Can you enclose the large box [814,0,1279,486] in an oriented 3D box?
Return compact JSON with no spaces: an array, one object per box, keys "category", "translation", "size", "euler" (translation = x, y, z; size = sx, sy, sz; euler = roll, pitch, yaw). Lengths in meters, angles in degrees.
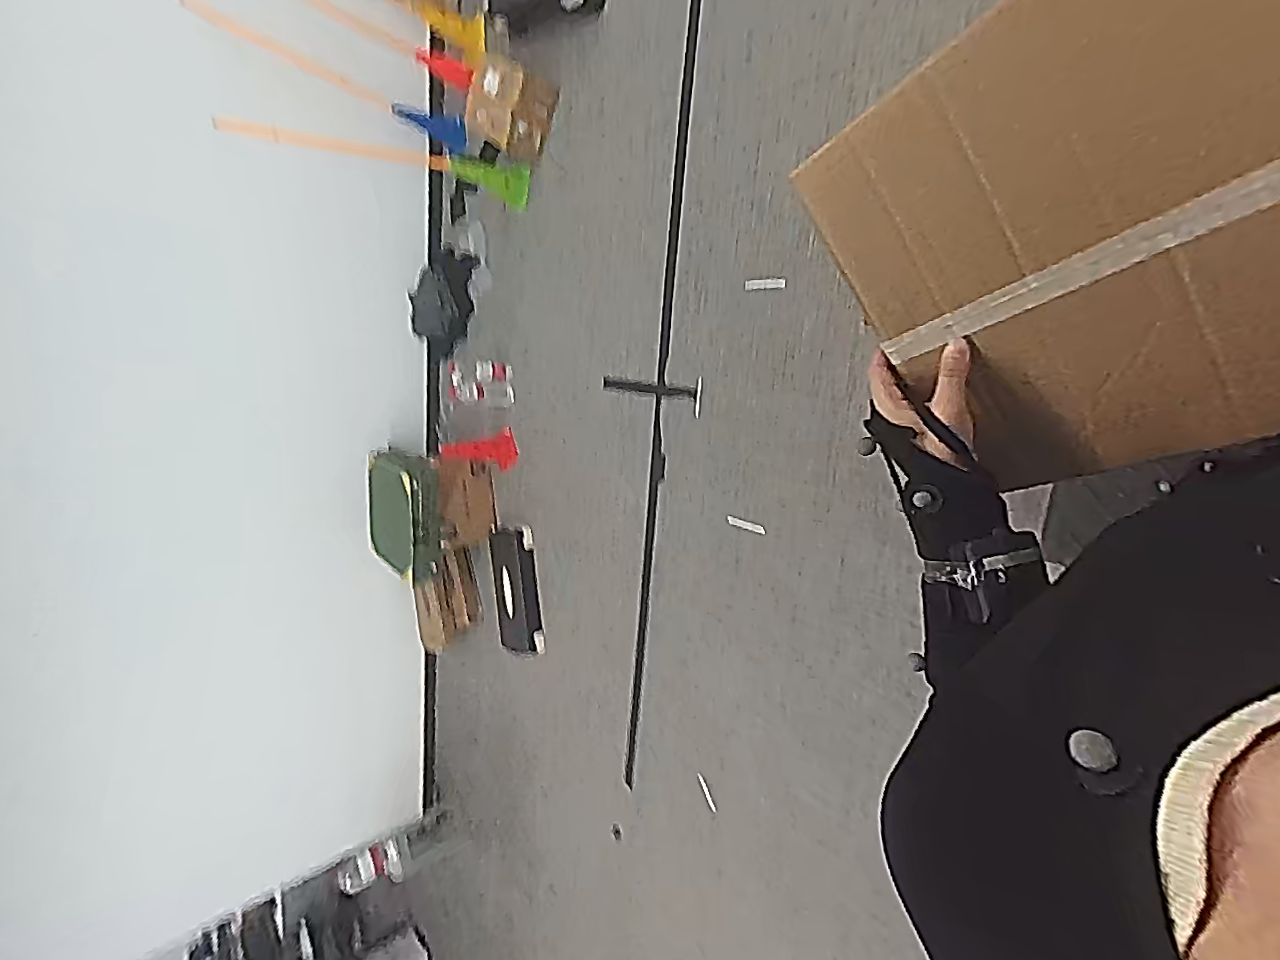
[{"category":"large box","translation":[0.414,-0.247,0.391],"size":[0.408,0.320,0.320],"euler":[-22,111,47]}]
